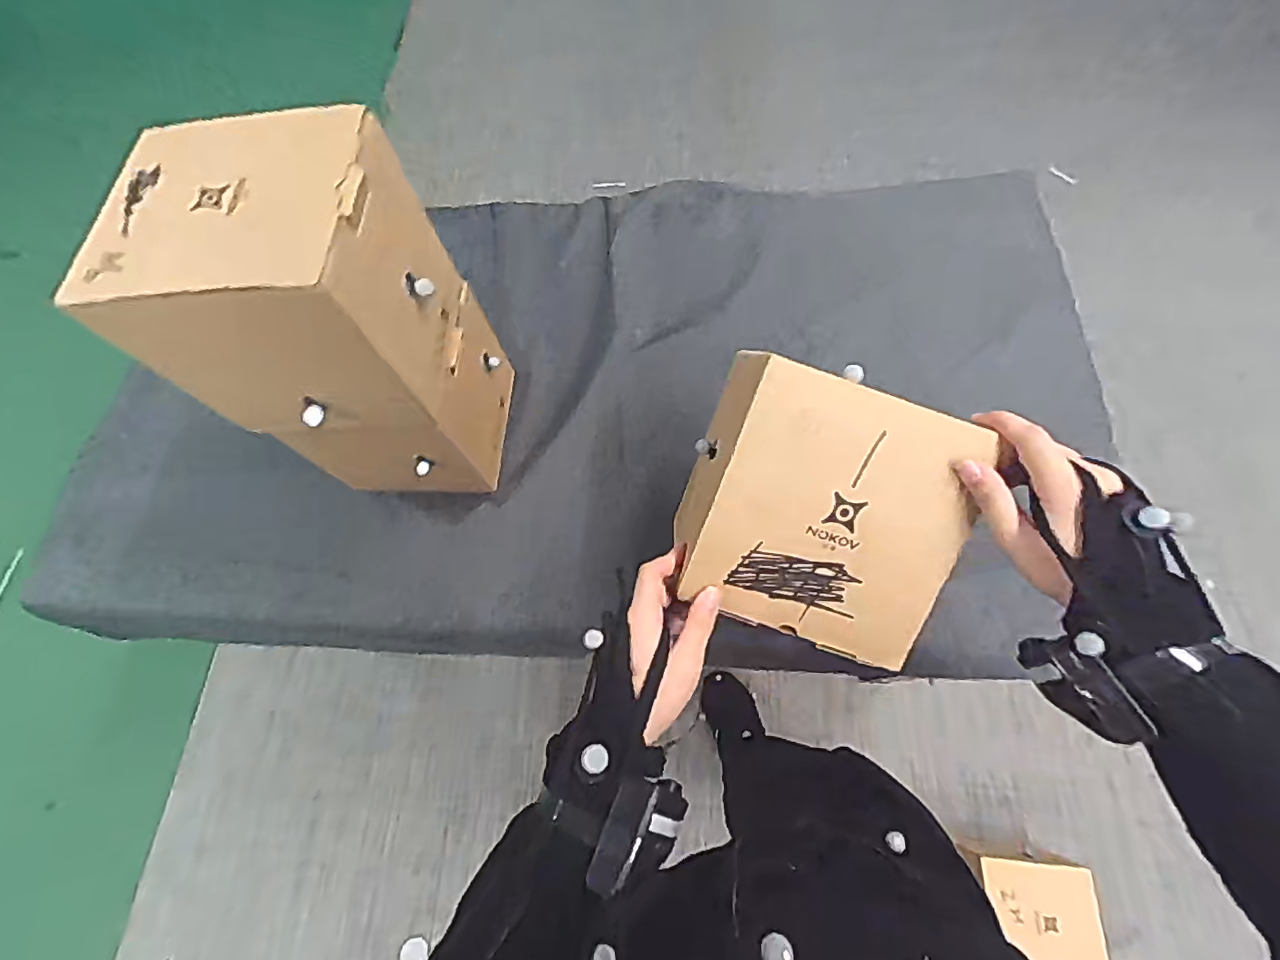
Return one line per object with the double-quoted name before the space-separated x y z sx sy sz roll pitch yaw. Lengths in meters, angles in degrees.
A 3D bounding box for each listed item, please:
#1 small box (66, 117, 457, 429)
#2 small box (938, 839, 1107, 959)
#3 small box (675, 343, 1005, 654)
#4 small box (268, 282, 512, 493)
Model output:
"small box" -0.266 -0.152 0.436 0.179 0.176 0.168 -2 65 3
"small box" 0.655 0.744 0.943 0.179 0.176 0.168 2 66 6
"small box" 0.133 0.001 0.437 0.168 0.176 0.179 19 102 -2
"small box" -0.252 -0.092 0.589 0.179 0.176 0.168 0 66 6
